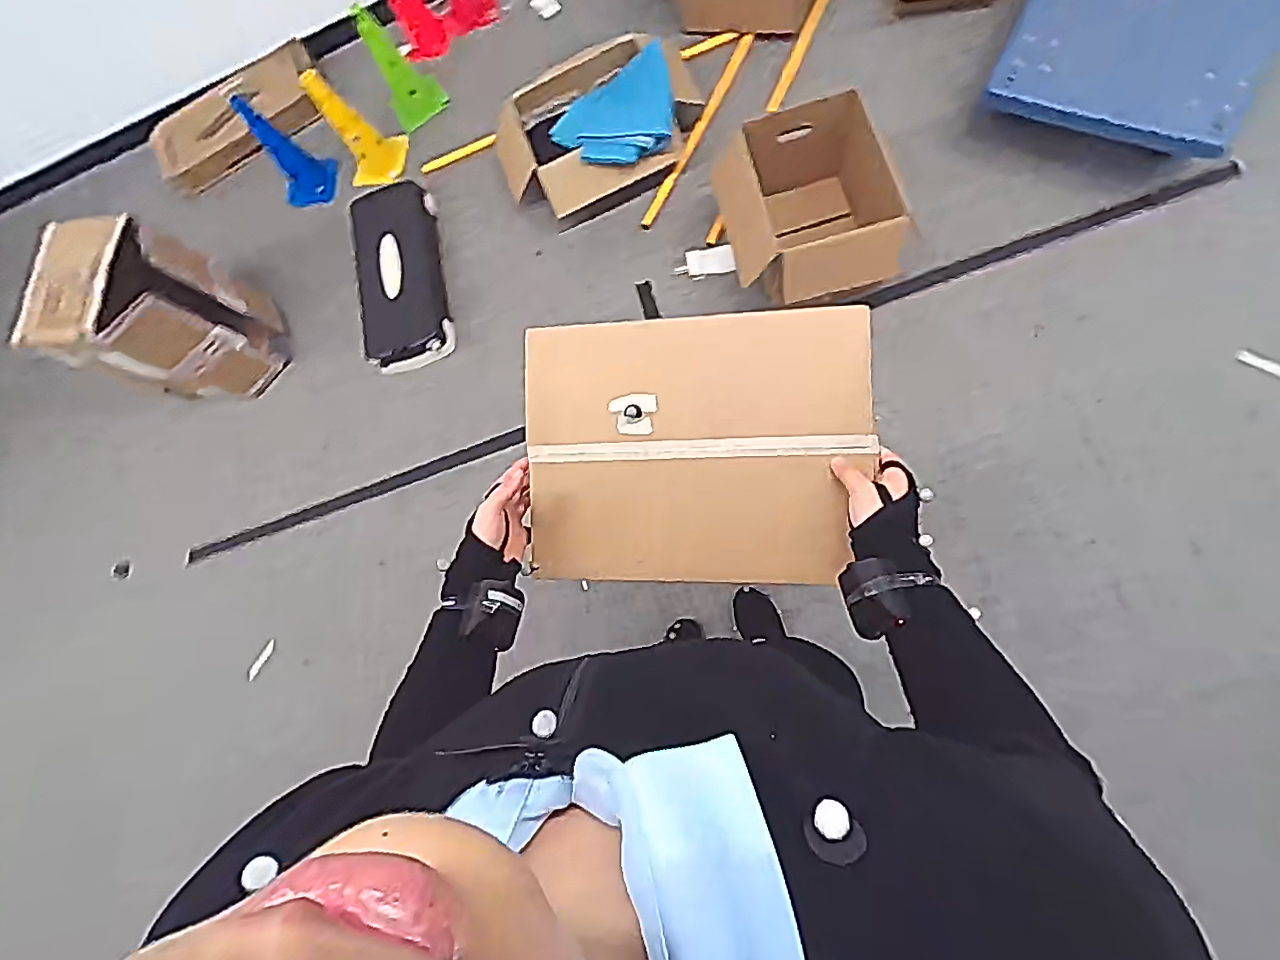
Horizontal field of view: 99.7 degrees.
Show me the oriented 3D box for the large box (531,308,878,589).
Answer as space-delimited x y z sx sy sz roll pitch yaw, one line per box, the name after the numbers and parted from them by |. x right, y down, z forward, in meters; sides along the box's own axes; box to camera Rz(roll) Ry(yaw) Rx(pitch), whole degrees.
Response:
0.094 -0.035 0.773 0.408 0.320 0.320 0 90 12 | large box
